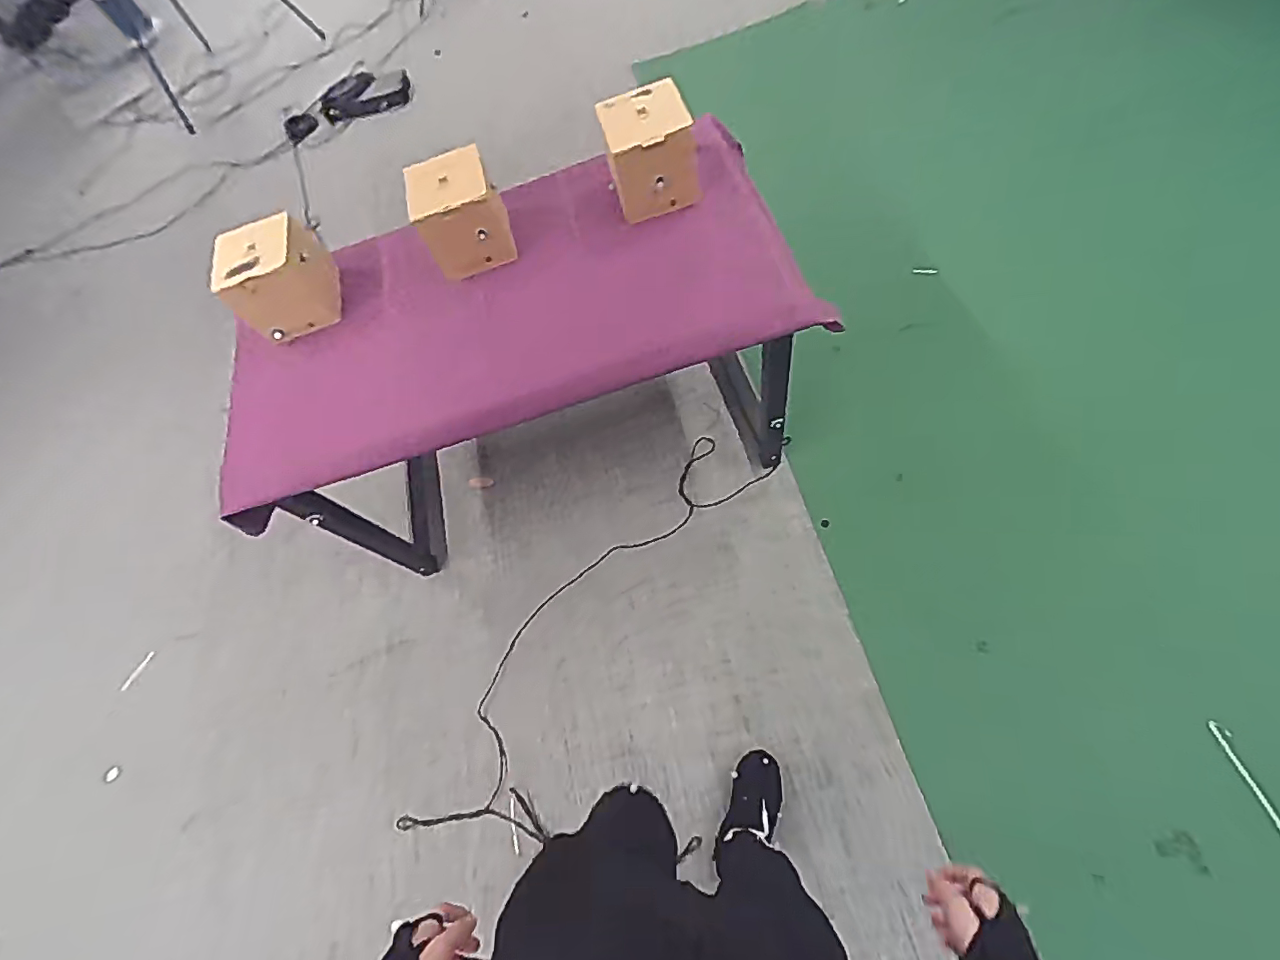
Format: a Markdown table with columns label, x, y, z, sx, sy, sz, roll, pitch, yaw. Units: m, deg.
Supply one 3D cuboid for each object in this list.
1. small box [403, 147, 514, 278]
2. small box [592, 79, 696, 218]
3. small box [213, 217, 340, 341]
| label | x | y | z | sx | sy | sz | roll | pitch | yaw |
| --- | --- | --- | --- | --- | --- | --- | --- | --- | --- |
| small box | -0.386 | -0.566 | 1.169 | 0.168 | 0.176 | 0.179 | -18 | 63 | 3 |
| small box | 0.013 | -0.683 | 1.136 | 0.168 | 0.176 | 0.179 | -17 | 64 | 4 |
| small box | -0.786 | -0.429 | 1.188 | 0.168 | 0.176 | 0.179 | -19 | 63 | 2 |
